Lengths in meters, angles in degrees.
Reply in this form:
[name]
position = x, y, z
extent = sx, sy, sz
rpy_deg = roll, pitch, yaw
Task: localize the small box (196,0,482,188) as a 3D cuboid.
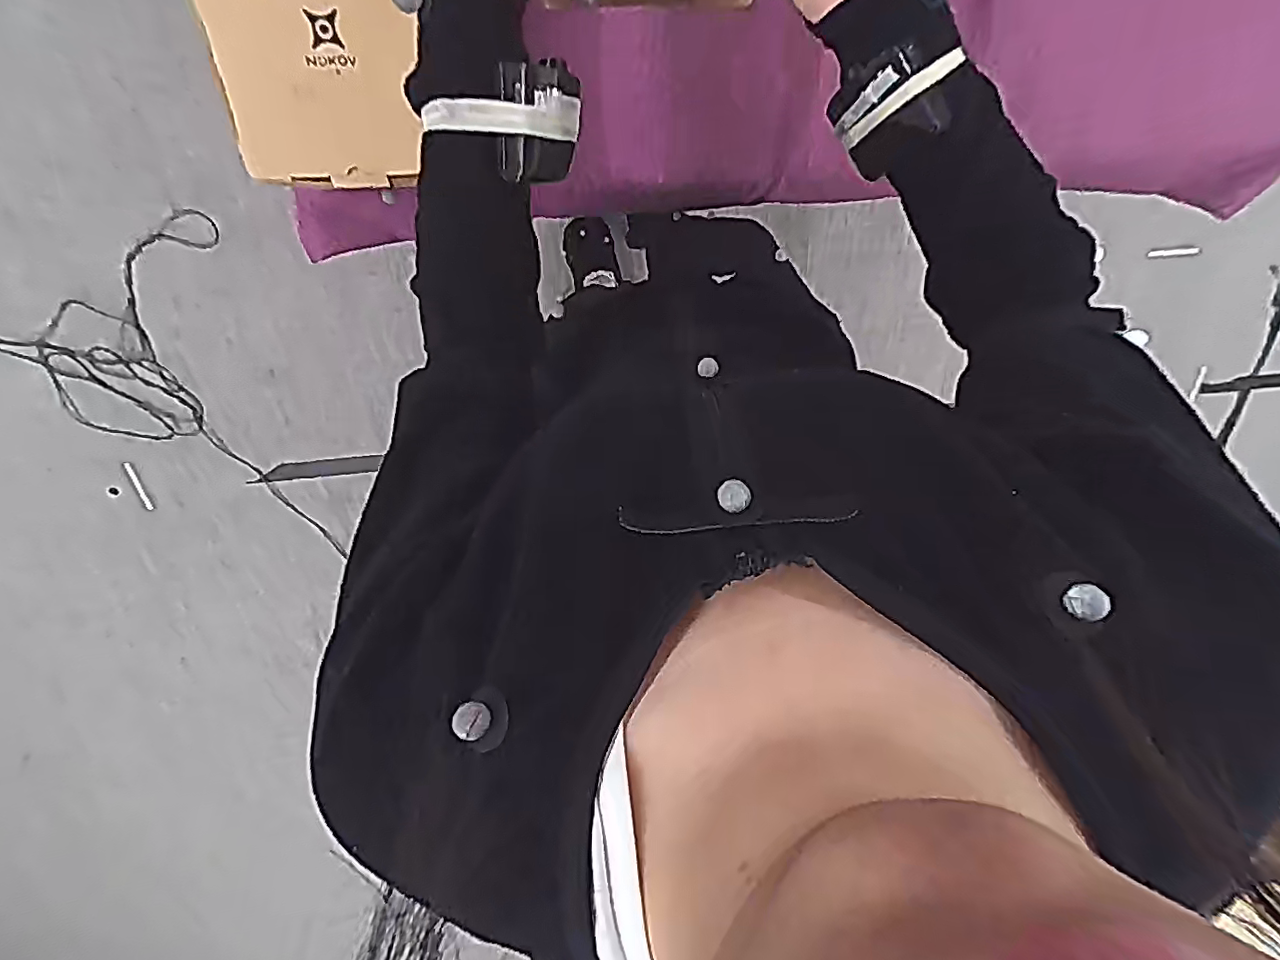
[small box]
position = -0.241, -0.357, 0.472
extent = 0.168, 0.176, 0.179
rpy_deg = -5, 118, -6
